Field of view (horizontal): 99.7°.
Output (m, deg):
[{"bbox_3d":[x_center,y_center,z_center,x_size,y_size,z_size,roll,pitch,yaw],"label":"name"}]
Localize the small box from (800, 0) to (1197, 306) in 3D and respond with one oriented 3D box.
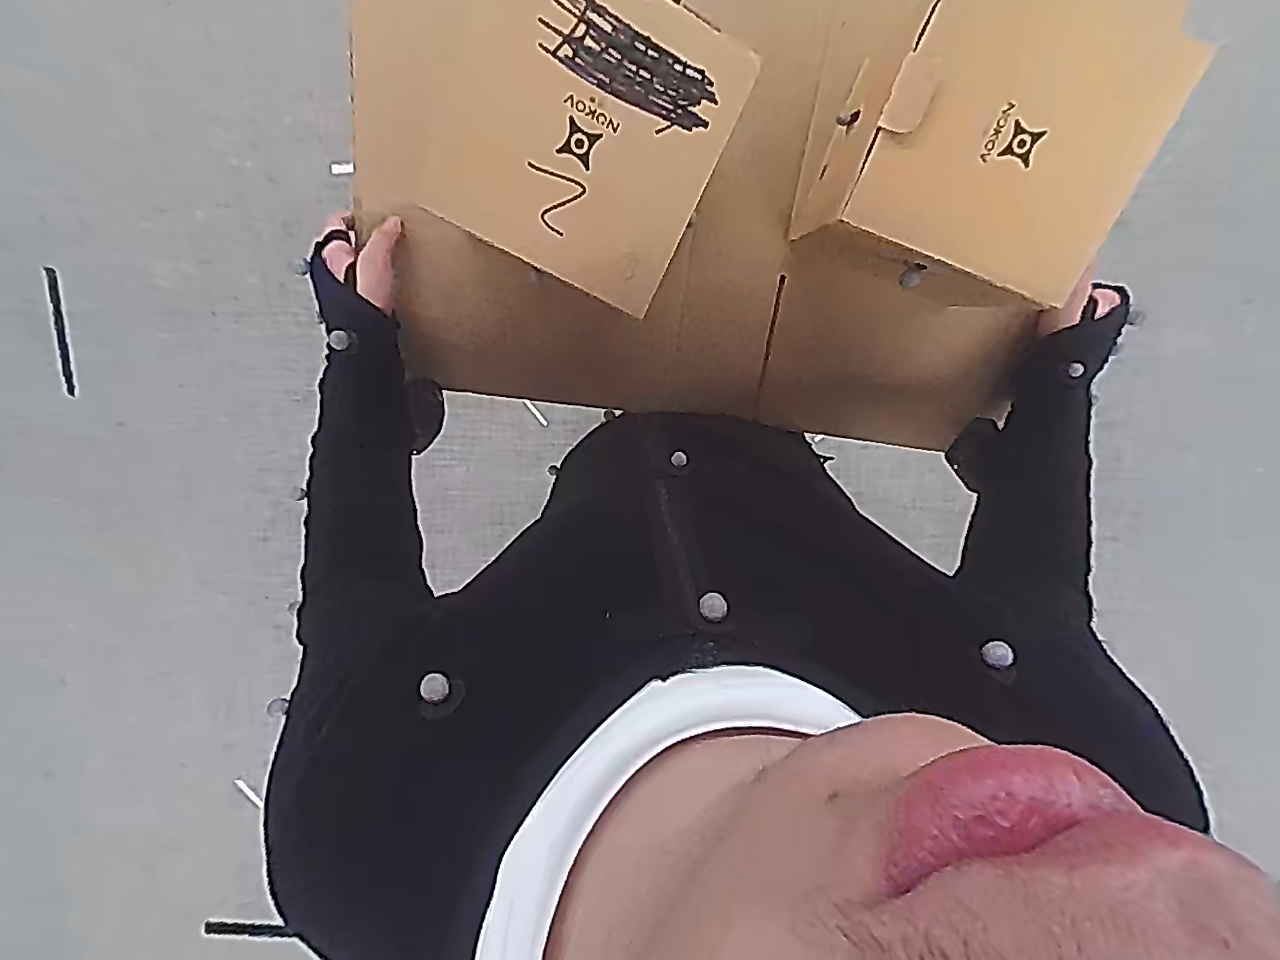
[{"bbox_3d":[0.257,-0.256,0.444,0.179,0.176,0.168,20,109,-2],"label":"small box"}]
